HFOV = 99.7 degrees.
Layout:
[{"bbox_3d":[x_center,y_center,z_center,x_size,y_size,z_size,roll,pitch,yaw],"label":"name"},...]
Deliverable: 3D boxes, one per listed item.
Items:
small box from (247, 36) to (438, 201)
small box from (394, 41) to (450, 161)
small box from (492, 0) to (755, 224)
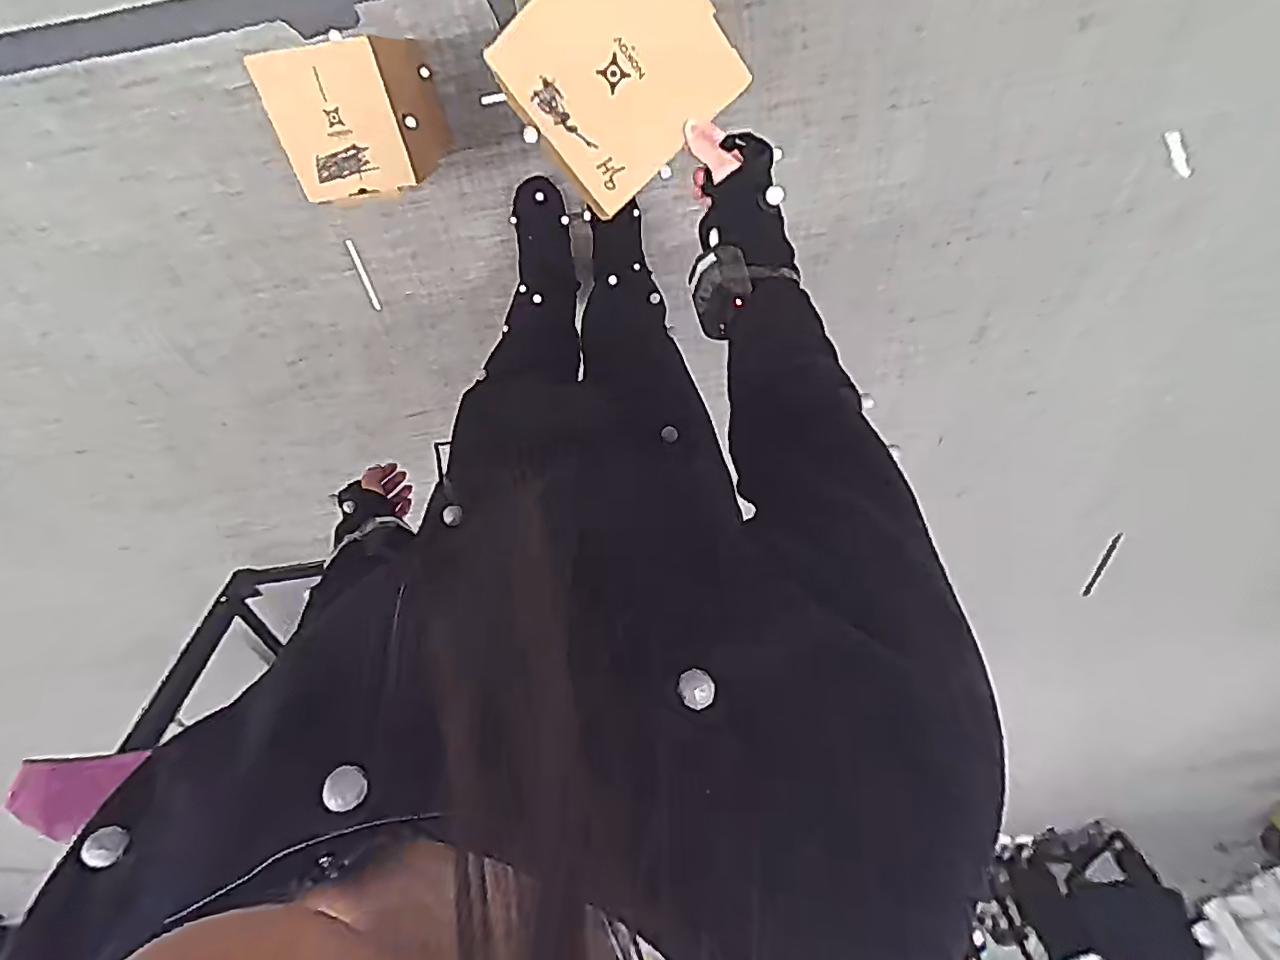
[{"bbox_3d":[-0.420,-0.538,0.804,0.168,0.176,0.179,-9,128,0],"label":"small box"},{"bbox_3d":[-0.443,-0.639,0.931,0.179,0.176,0.168,-11,128,3],"label":"small box"},{"bbox_3d":[-0.021,-0.385,0.540,0.179,0.176,0.168,-40,113,11],"label":"small box"}]
